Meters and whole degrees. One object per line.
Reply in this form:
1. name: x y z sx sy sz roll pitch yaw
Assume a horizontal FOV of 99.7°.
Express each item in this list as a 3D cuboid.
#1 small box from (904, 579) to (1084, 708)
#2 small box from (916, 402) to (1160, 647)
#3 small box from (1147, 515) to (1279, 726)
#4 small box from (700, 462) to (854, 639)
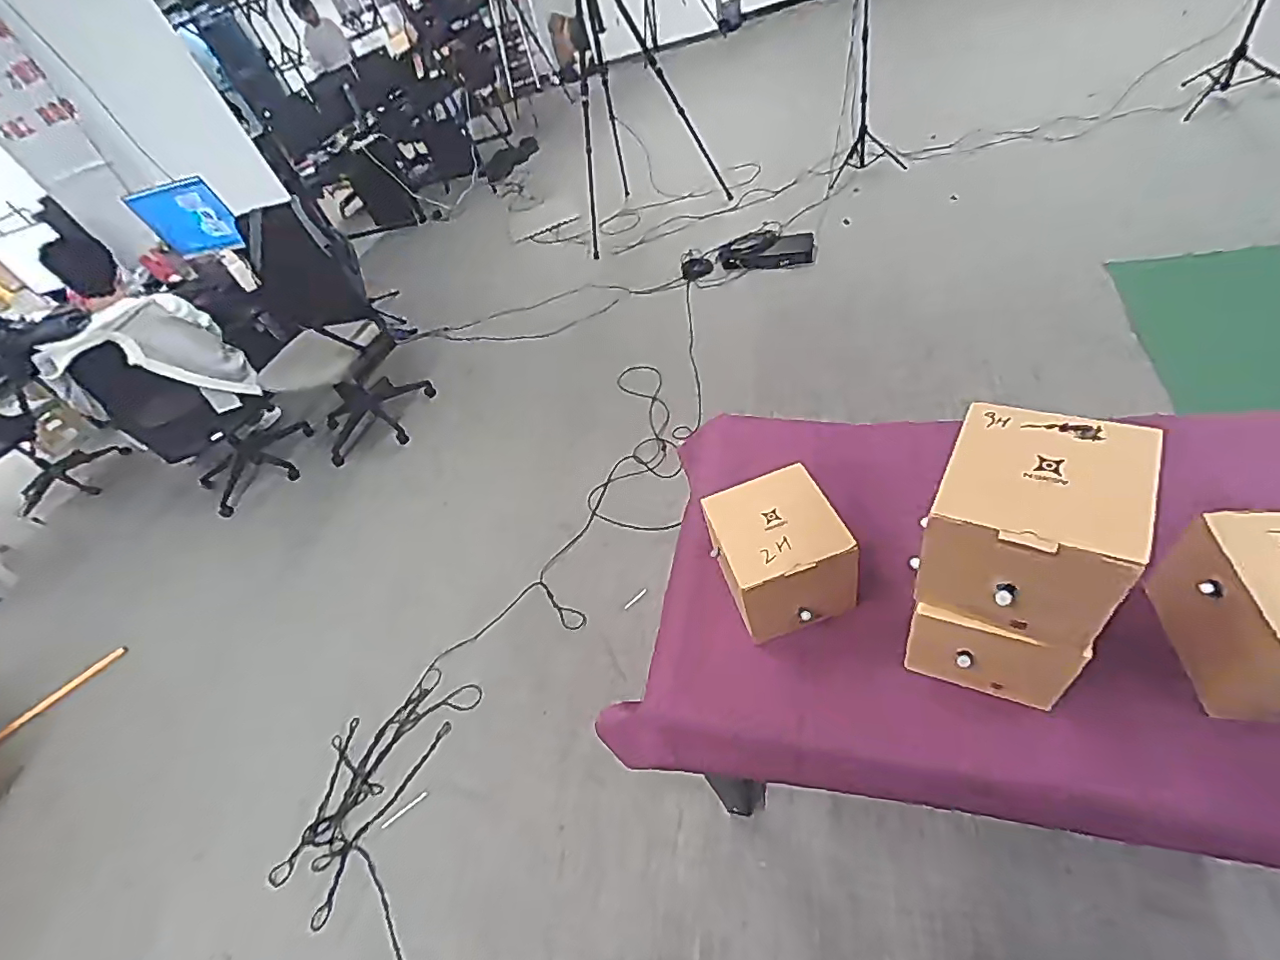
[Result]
1. small box: 0.445 0.161 0.693 0.168 0.176 0.179 11 53 28
2. small box: 0.410 0.047 0.581 0.168 0.176 0.179 18 57 32
3. small box: 0.720 0.156 0.597 0.168 0.176 0.179 -3 48 18
4. small box: 0.204 0.109 0.822 0.168 0.176 0.179 -20 46 2
